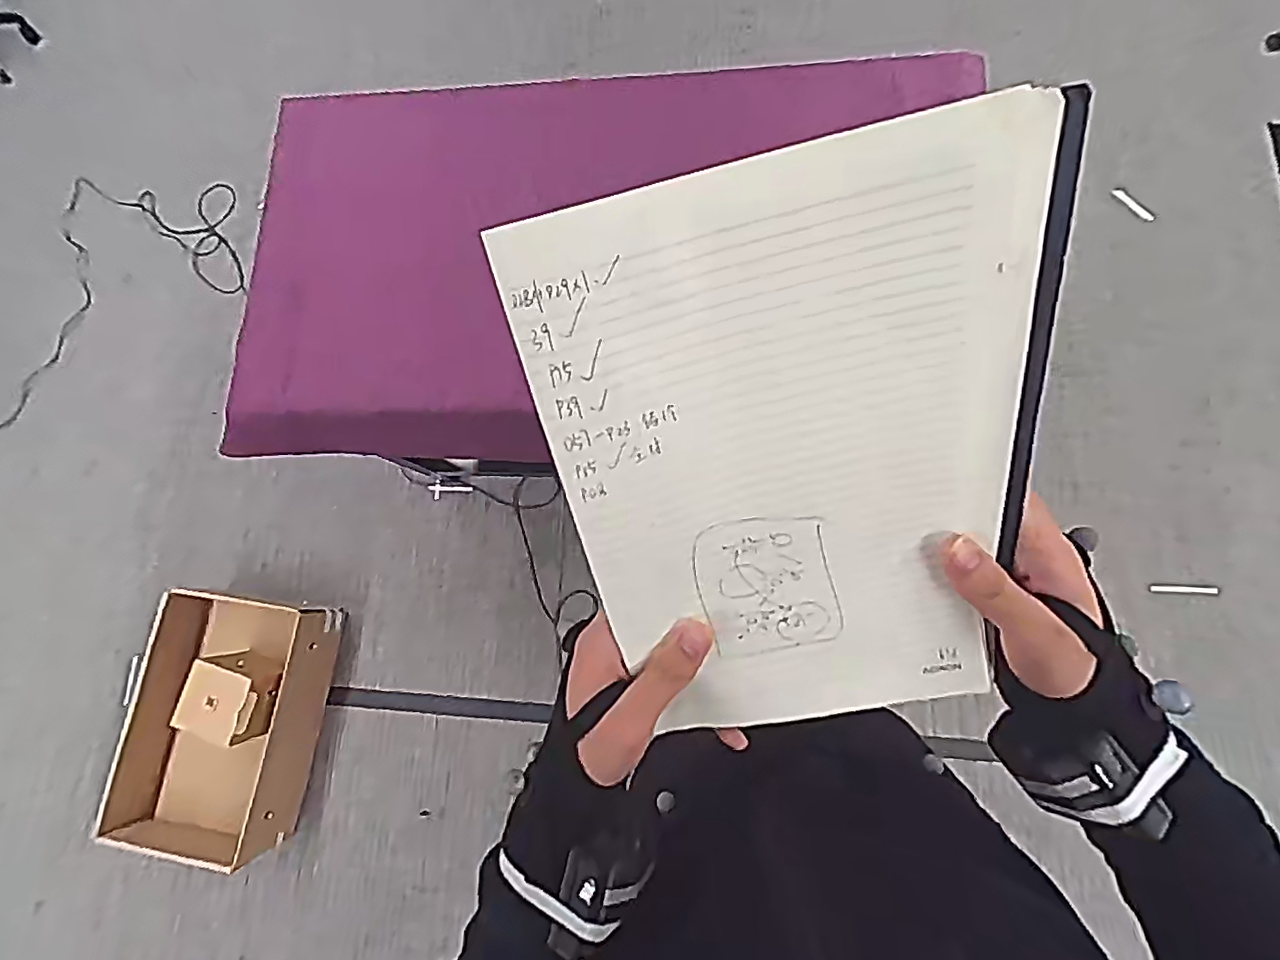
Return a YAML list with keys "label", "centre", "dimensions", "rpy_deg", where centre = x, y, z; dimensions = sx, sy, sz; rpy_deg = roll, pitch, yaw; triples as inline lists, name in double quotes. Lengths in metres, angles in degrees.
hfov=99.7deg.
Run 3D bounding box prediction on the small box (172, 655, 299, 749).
- label: "small box"
  centre: [-1.037, 0.565, 1.403]
  dimensions: [0.179, 0.176, 0.168]
  rpy_deg: [15, 81, 9]
